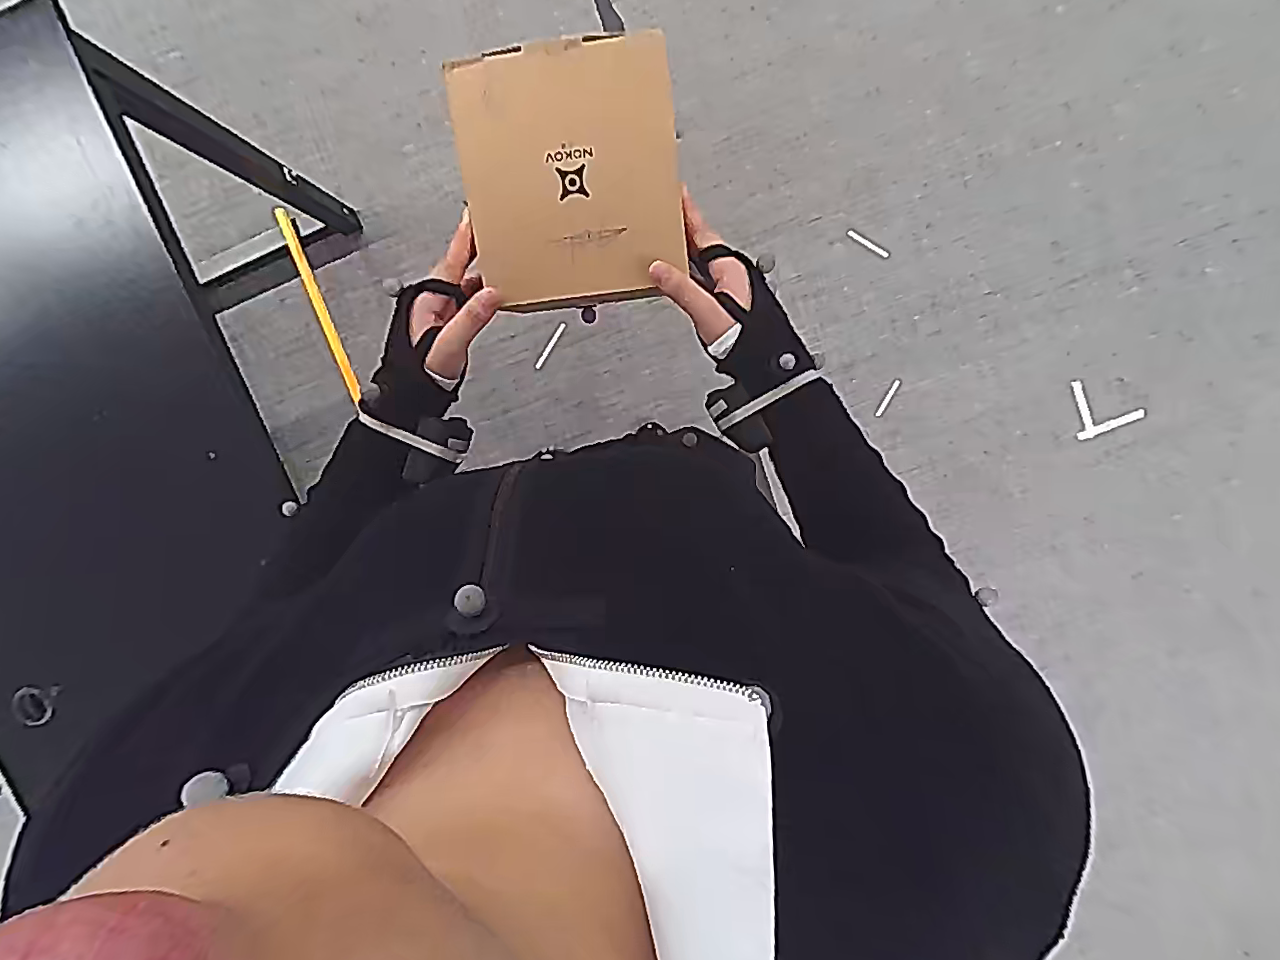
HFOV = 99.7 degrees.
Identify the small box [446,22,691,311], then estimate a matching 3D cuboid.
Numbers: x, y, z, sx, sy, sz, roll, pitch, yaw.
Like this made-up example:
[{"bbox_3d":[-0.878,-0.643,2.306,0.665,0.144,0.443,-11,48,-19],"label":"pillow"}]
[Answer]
[{"bbox_3d":[-0.050,-0.251,0.478,0.168,0.176,0.179,-6,106,1],"label":"small box"}]
